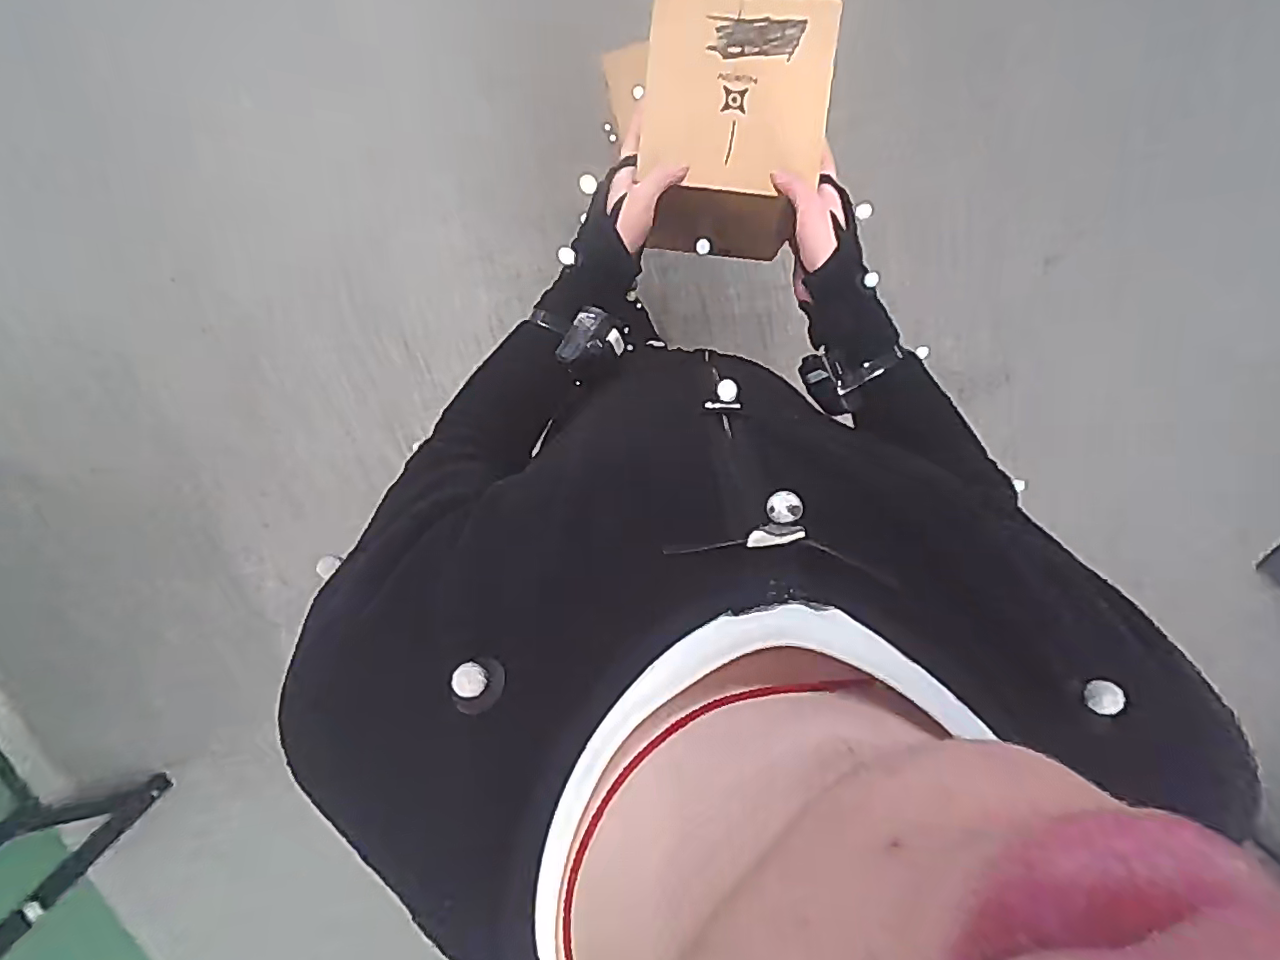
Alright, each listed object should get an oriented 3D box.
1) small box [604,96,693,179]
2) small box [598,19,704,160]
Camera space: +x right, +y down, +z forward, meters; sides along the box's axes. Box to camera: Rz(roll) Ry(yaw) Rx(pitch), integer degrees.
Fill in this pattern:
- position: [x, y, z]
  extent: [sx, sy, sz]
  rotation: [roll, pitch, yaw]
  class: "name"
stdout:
- position: [0.015, -0.829, 1.265]
  extent: [0.179, 0.176, 0.168]
  rotation: [-13, 105, 2]
  class: "small box"
- position: [0.021, -0.785, 1.109]
  extent: [0.179, 0.176, 0.168]
  rotation: [-15, 107, 2]
  class: "small box"
